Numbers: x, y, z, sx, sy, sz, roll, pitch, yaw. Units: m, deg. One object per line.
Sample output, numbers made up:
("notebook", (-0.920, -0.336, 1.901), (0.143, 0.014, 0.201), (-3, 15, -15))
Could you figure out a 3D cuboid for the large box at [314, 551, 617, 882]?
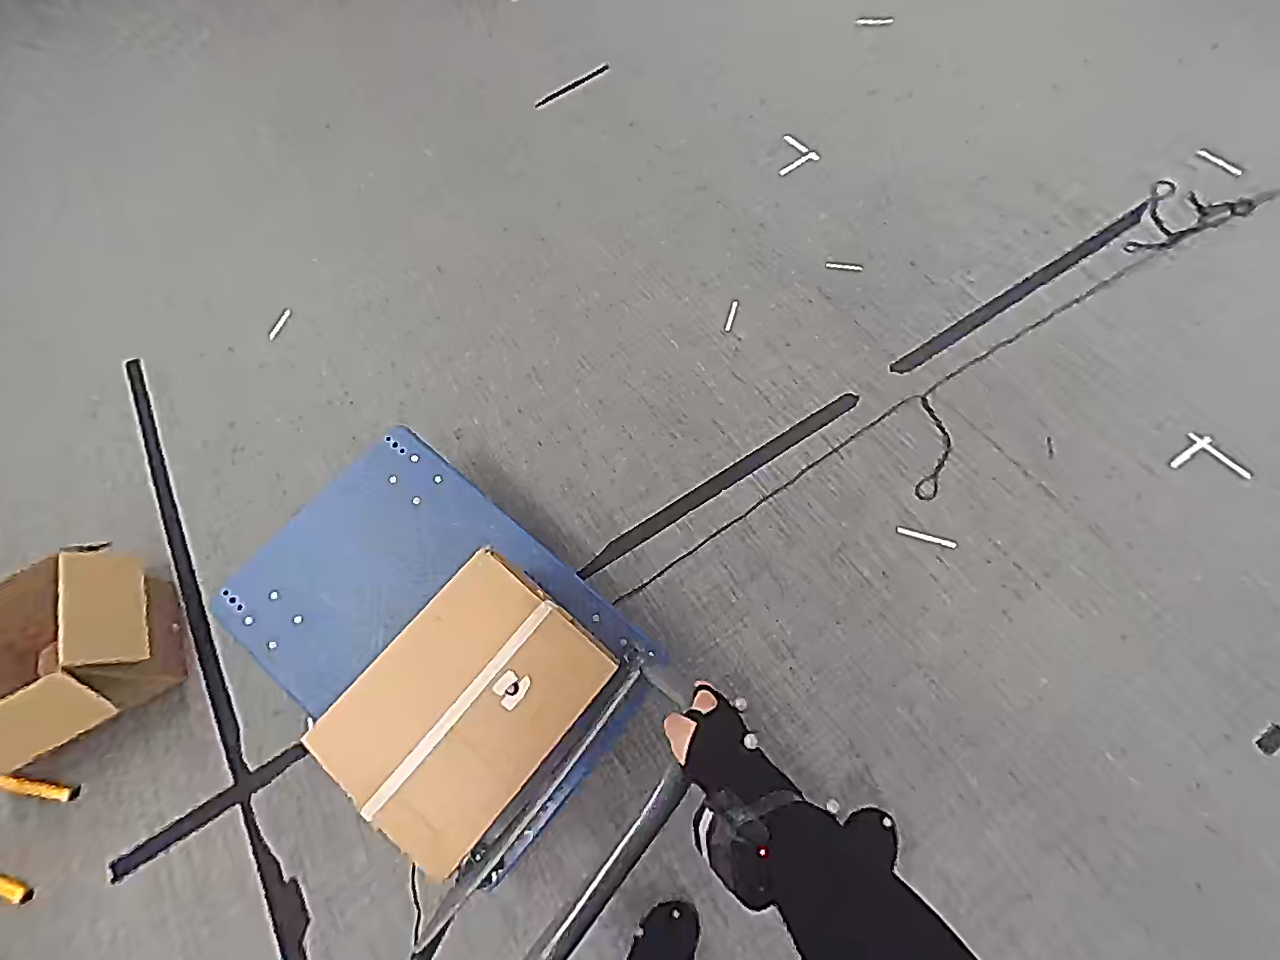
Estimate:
("large box", (-0.282, 0.407, 1.014), (0.320, 0.320, 0.408), (39, 75, 9))
